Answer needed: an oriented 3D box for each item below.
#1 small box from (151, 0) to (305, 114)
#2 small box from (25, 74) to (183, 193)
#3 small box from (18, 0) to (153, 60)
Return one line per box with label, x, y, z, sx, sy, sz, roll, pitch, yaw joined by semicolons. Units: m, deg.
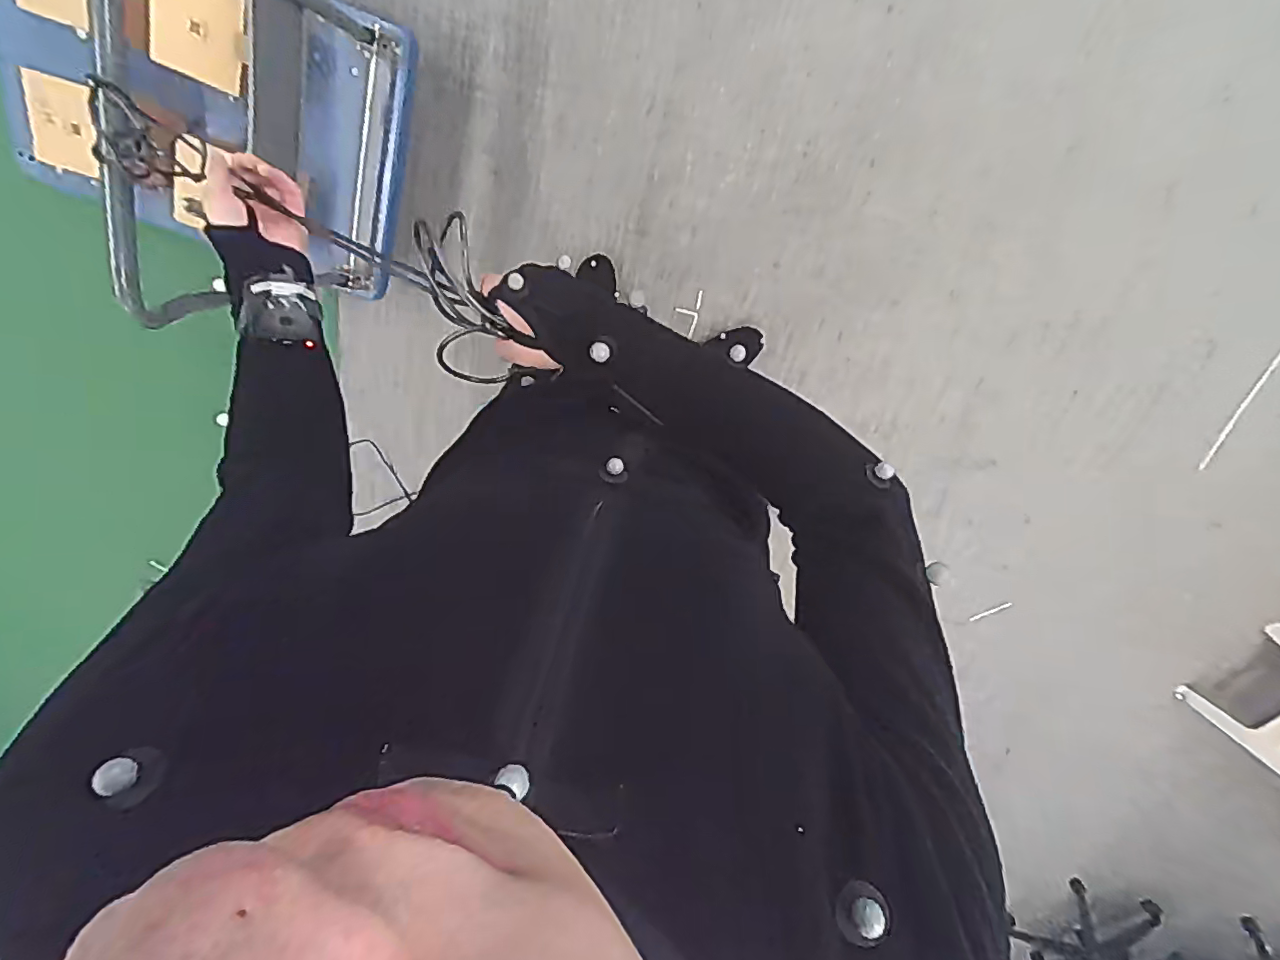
small box;-0.808;-0.856;1.069;0.179;0.176;0.168;21;115;-6
small box;-1.122;-0.726;1.154;0.179;0.176;0.168;17;114;-3
small box;-1.036;-0.941;1.046;0.179;0.176;0.168;18;116;-5
